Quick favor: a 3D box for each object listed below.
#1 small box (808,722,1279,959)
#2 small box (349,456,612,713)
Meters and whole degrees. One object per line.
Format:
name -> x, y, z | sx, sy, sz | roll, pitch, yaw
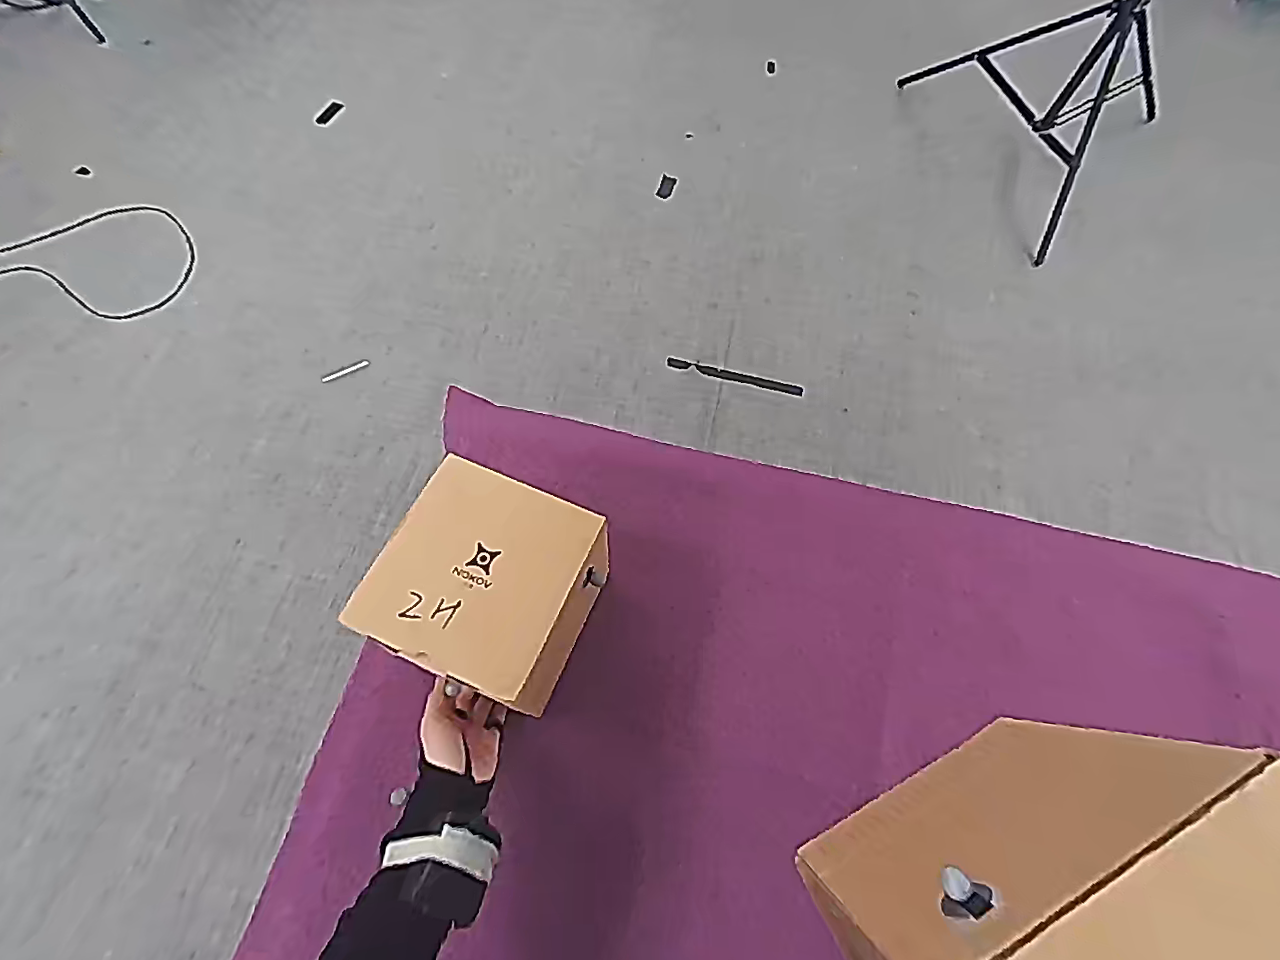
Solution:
small box -> 0.214, 0.239, 0.260 | 0.179, 0.176, 0.168 | -26, 74, -9
small box -> -0.138, 0.111, 0.539 | 0.168, 0.176, 0.179 | 21, 64, 8
